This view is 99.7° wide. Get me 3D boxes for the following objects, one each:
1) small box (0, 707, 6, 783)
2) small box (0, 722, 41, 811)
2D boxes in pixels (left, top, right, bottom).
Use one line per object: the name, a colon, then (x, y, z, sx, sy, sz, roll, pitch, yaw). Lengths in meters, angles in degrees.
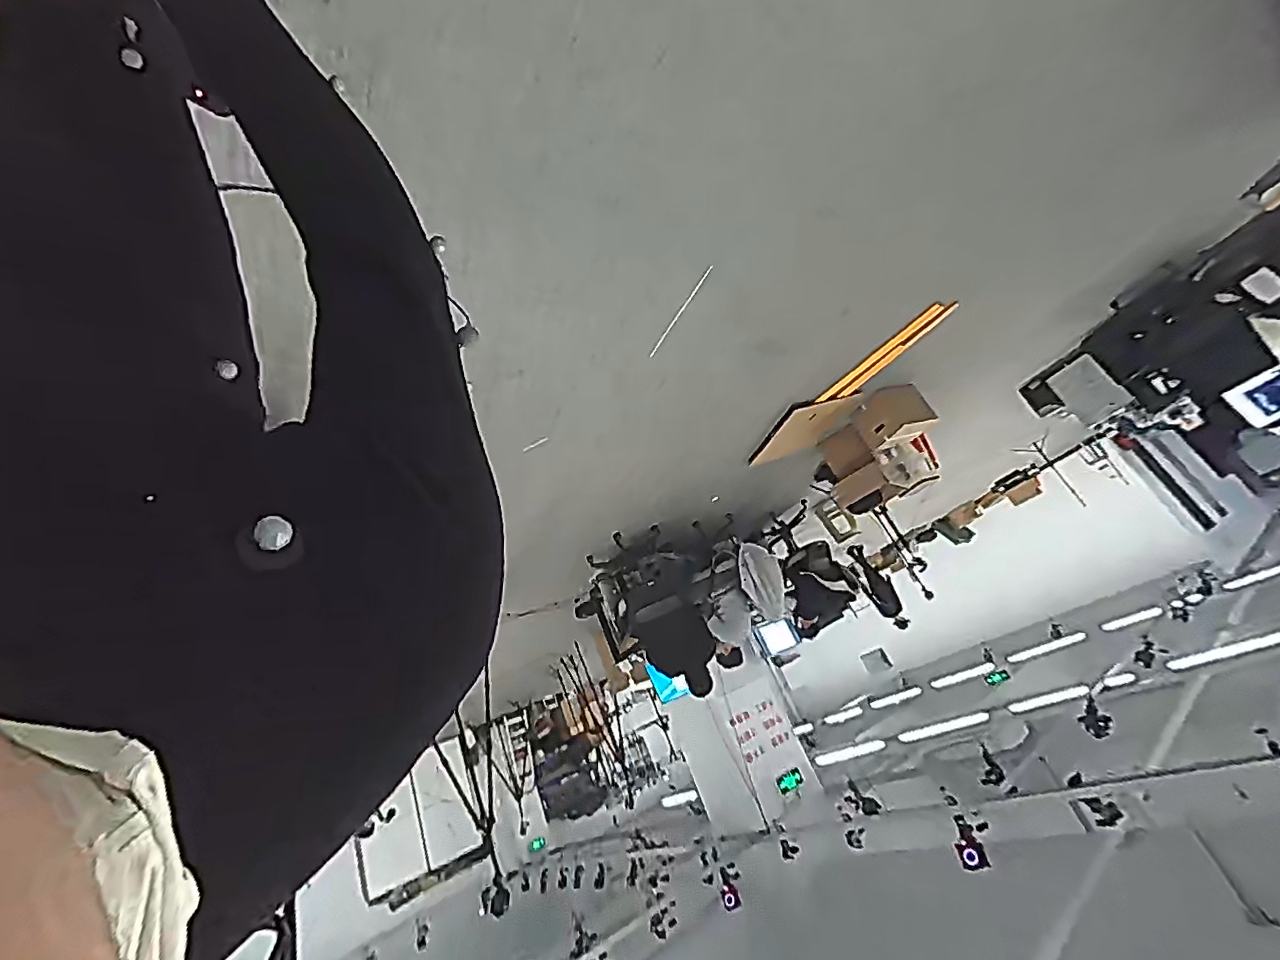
small box: (-1.460, 0.562, 1.118, 0.179, 0.176, 0.168, -4, 150, -42)
small box: (-1.585, 0.708, 1.310, 0.168, 0.176, 0.179, -2, 149, -42)
